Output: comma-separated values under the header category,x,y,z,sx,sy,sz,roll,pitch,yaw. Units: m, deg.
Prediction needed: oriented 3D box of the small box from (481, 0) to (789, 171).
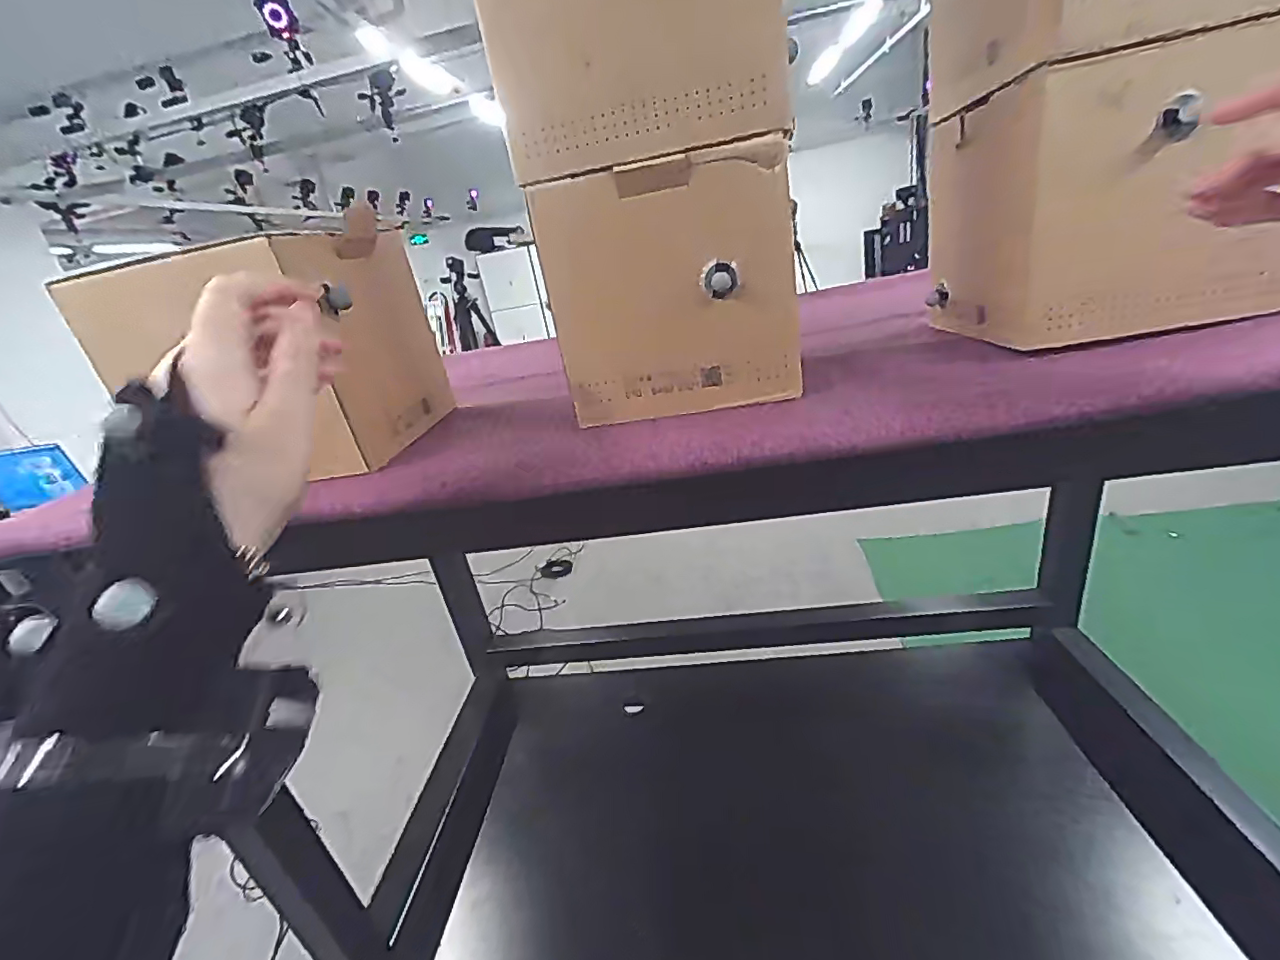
category,x,y,z,sx,sy,sz,roll,pitch,yaw
small box,-0.002,-0.309,0.366,0.179,0.176,0.168,-6,25,10

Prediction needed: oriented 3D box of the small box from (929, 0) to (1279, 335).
category,x,y,z,sx,sy,sz,roll,pitch,yaw
small box,0.333,-0.207,0.391,0.179,0.176,0.168,-8,21,8

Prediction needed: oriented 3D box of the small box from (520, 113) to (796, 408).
category,x,y,z,sx,sy,sz,roll,pitch,yaw
small box,0.026,-0.160,0.430,0.168,0.176,0.179,-6,23,10

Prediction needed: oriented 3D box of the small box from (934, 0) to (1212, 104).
category,x,y,z,sx,sy,sz,roll,pitch,yaw
small box,0.303,-0.358,0.338,0.179,0.176,0.168,-7,21,8
